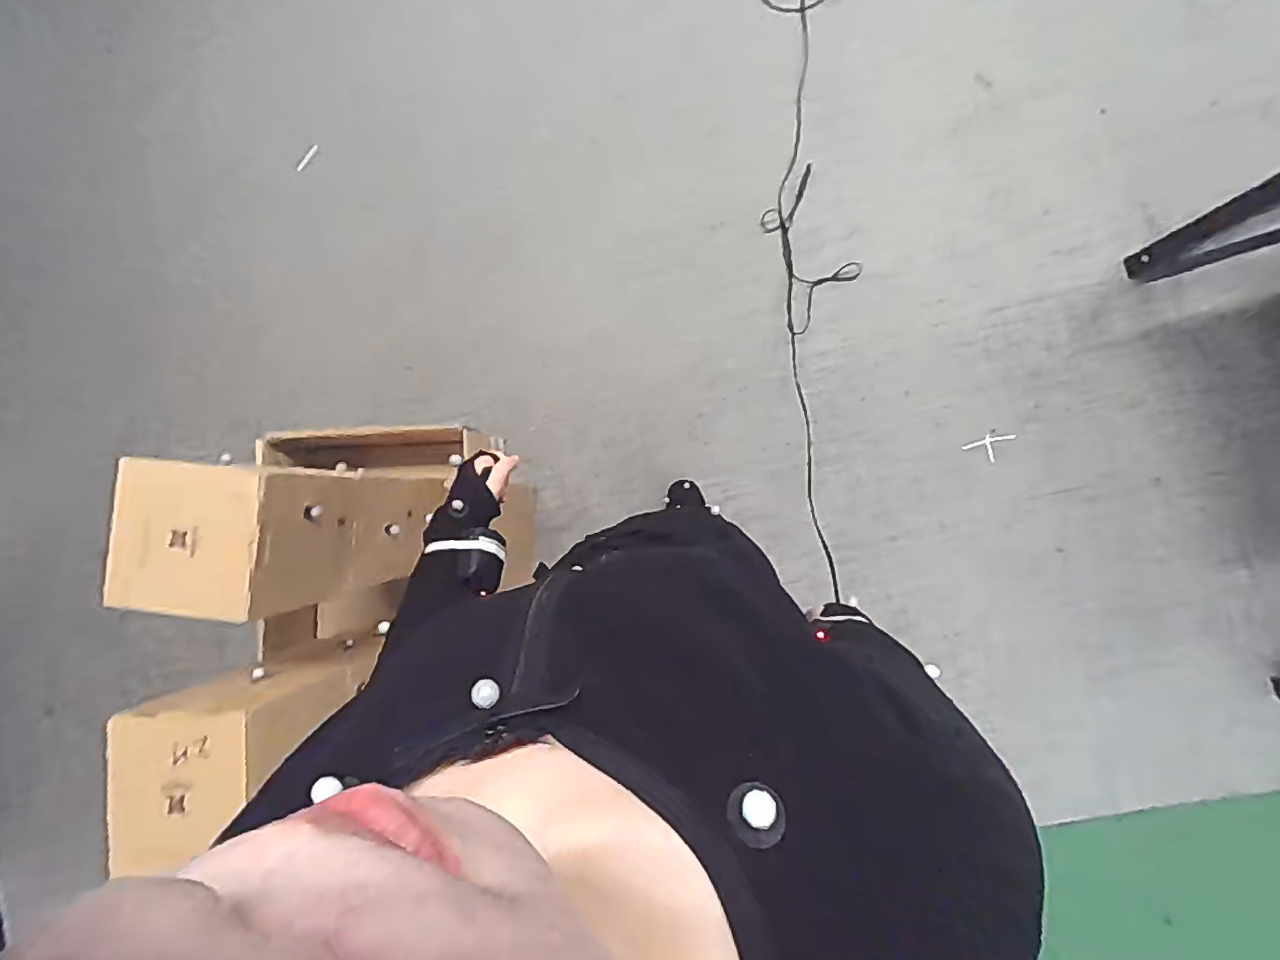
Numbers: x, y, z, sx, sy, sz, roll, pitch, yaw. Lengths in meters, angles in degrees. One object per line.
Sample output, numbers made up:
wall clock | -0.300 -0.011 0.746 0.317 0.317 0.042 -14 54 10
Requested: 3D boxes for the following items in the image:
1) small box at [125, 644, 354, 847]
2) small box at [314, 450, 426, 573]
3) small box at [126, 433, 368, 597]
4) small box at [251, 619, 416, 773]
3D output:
small box | -0.483 0.316 0.675 0.168 0.176 0.179 -2 87 6
small box | -0.458 0.042 0.843 0.179 0.176 0.168 6 89 6
small box | -0.476 0.039 0.681 0.179 0.176 0.168 7 89 8
small box | -0.467 0.324 0.840 0.168 0.176 0.179 -2 87 6
